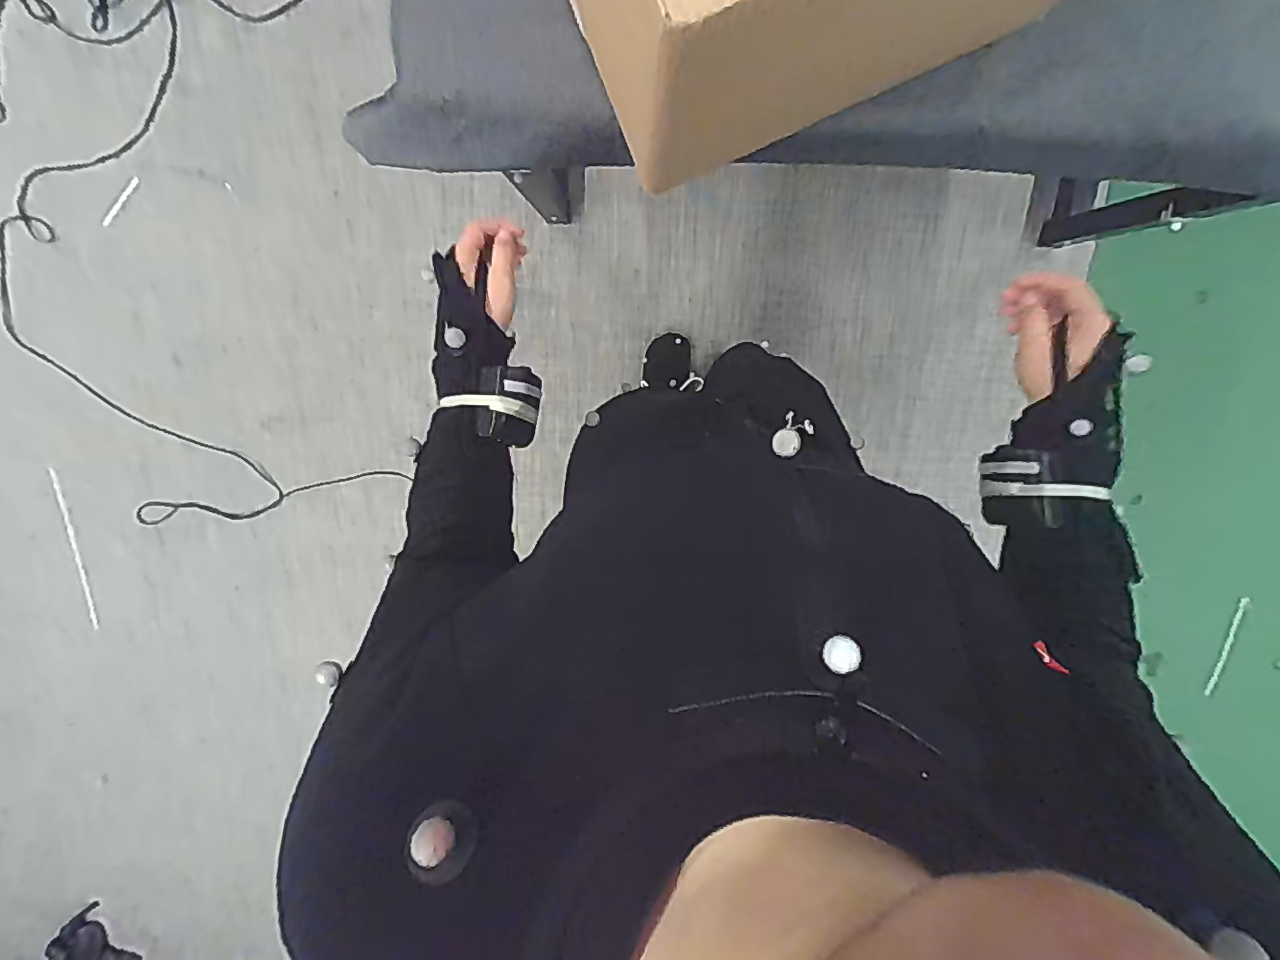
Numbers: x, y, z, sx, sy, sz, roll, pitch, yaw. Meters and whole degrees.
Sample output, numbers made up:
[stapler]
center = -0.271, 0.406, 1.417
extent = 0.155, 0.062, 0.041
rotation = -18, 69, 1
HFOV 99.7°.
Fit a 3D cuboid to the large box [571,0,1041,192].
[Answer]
[large box]
center = 0.132, -0.465, 0.355
extent = 0.408, 0.320, 0.320
rotation = -23, 104, 4
